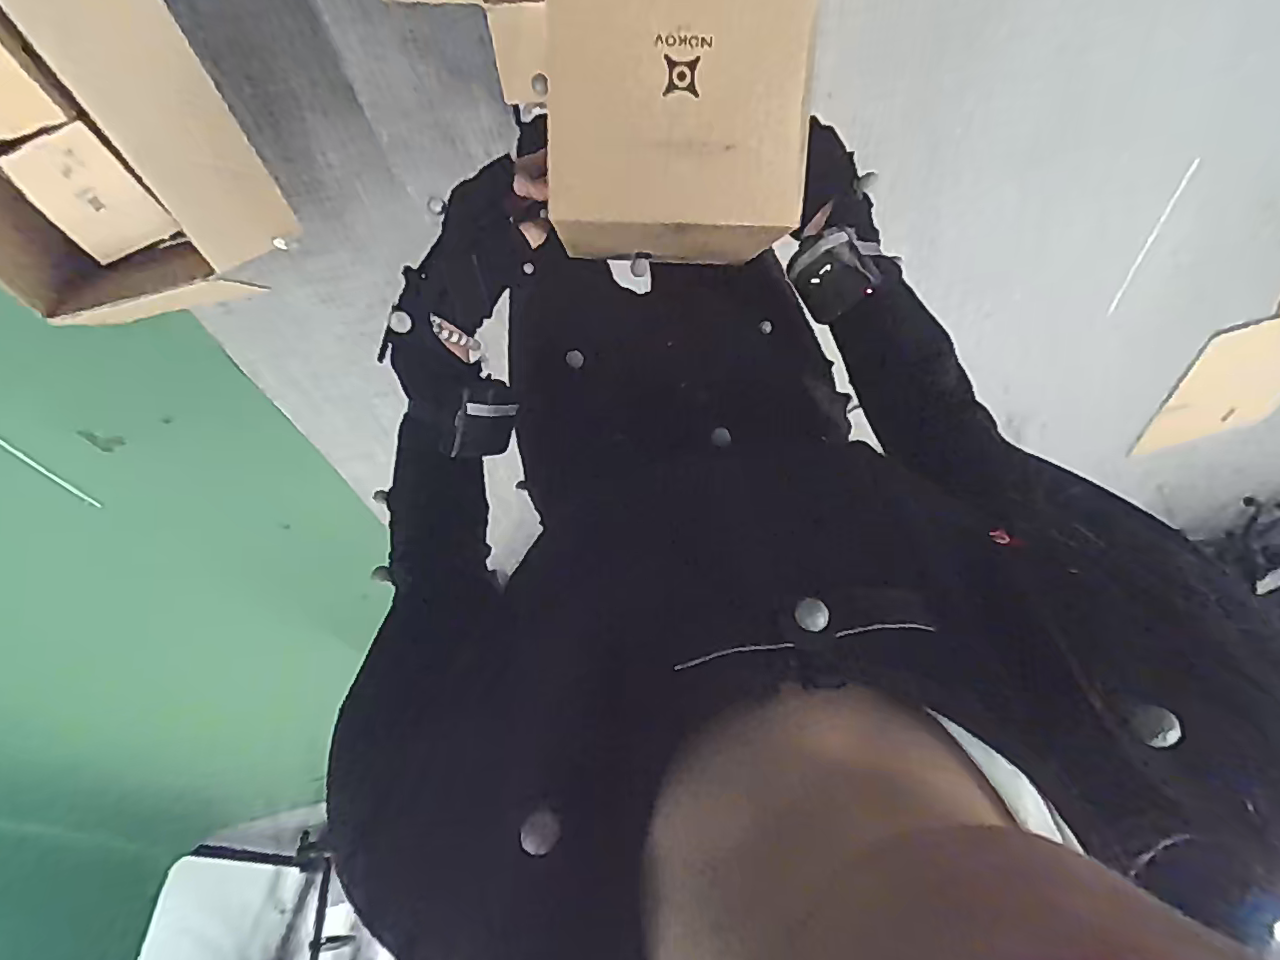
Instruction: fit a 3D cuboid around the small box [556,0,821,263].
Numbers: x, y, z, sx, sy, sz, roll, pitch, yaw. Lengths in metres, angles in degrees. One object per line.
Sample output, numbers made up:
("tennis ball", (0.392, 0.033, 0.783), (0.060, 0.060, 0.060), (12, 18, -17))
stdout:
("small box", (0.025, -0.273, 0.416), (0.168, 0.176, 0.179), (0, 105, -2))
